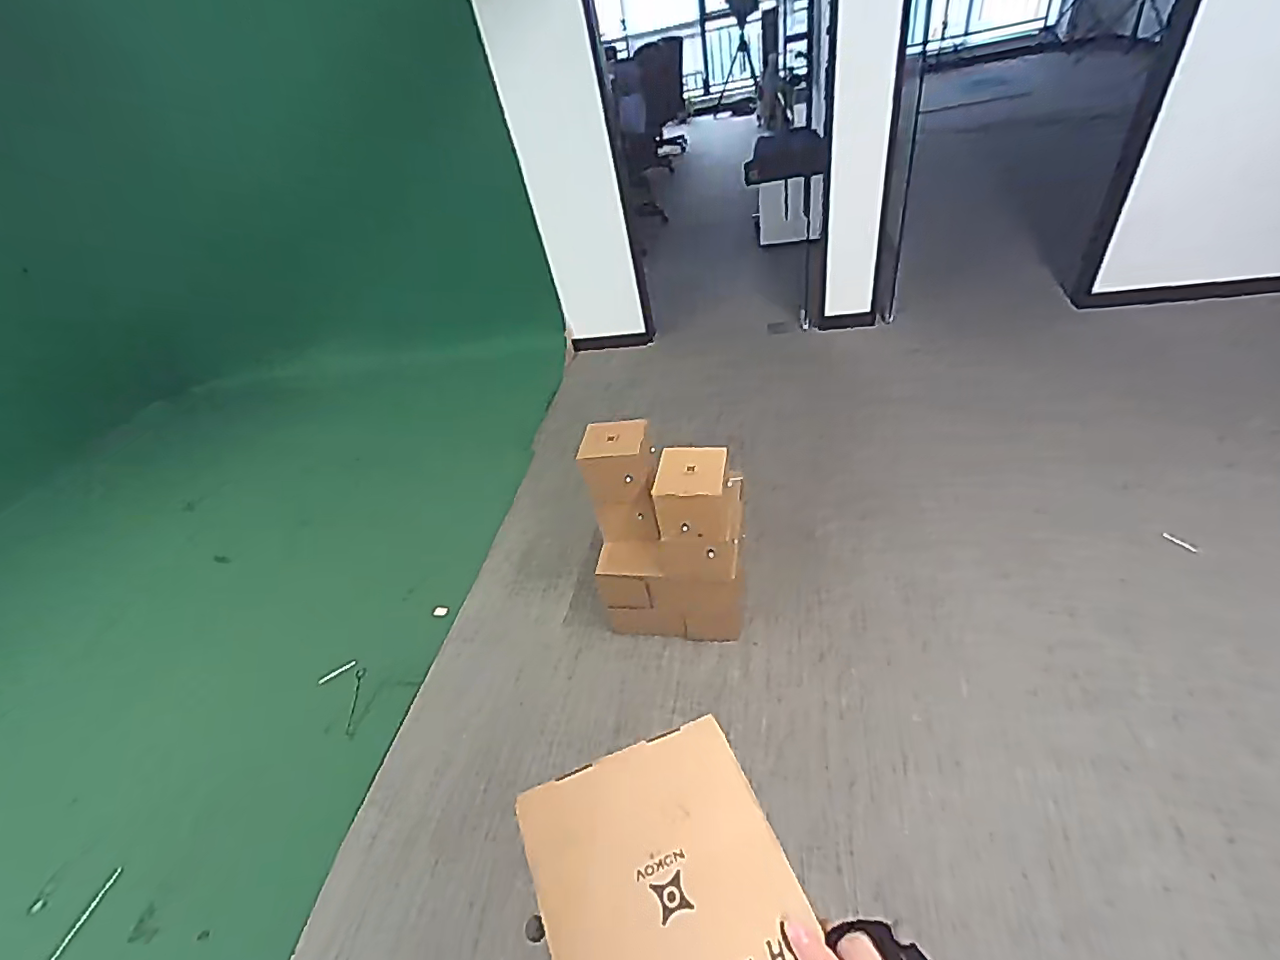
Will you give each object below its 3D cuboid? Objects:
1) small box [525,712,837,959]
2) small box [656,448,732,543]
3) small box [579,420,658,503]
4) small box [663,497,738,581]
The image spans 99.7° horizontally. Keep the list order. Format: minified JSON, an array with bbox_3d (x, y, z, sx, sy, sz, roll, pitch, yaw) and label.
[{"bbox_3d":[0.013,0.321,0.422,0.168,0.176,0.179,-14,48,-18],"label":"small box"},{"bbox_3d":[0.143,0.037,1.372,0.168,0.176,0.179,1,43,15],"label":"small box"},{"bbox_3d":[-0.052,-0.051,1.531,0.179,0.176,0.168,-3,40,14],"label":"small box"},{"bbox_3d":[0.172,0.160,1.475,0.179,0.176,0.168,0,42,15],"label":"small box"}]
